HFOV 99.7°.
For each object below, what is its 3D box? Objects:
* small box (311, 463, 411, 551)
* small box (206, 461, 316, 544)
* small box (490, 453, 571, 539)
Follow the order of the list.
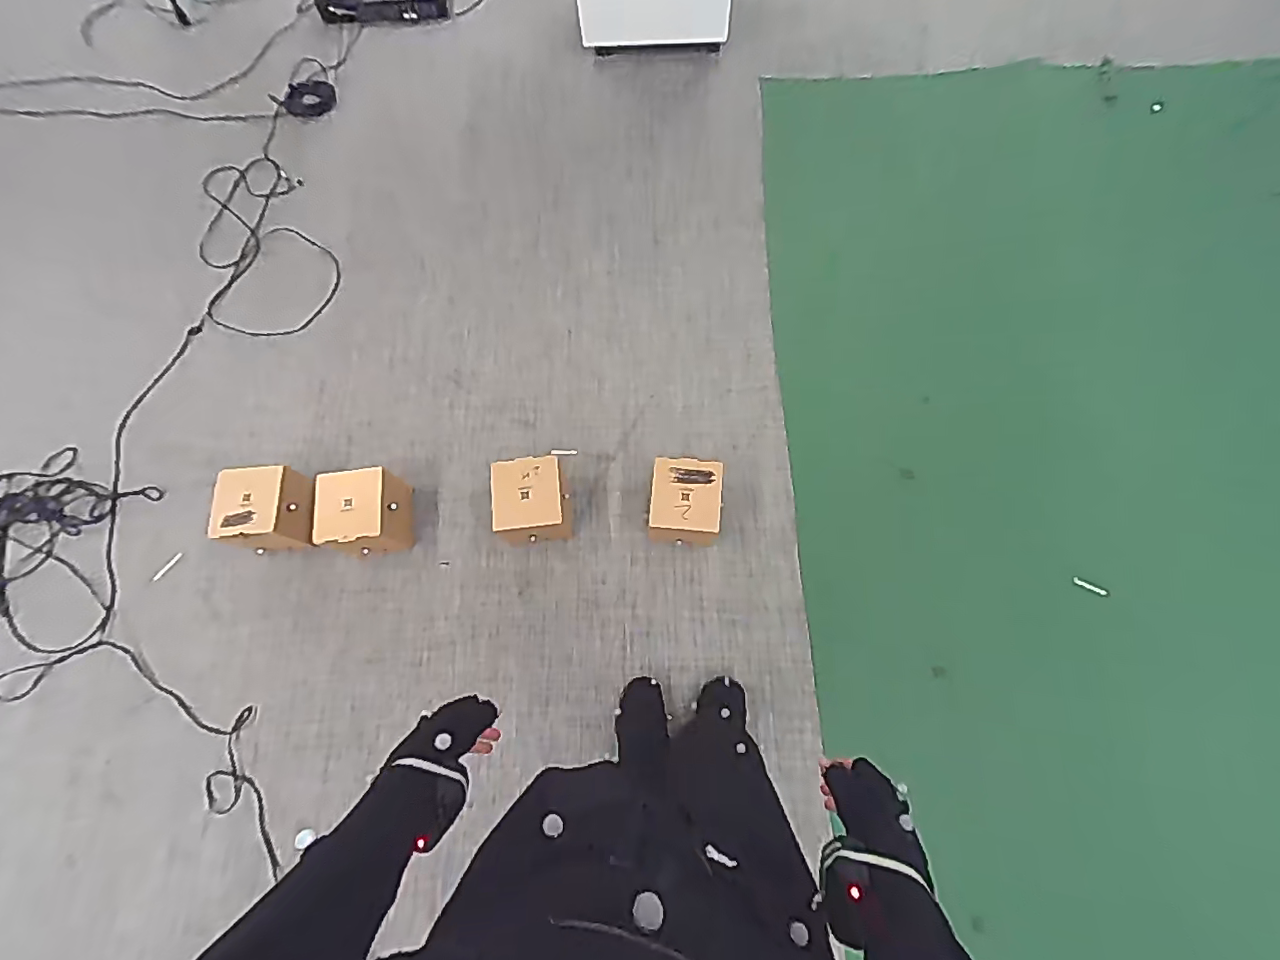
[{"bbox_3d":[-0.696,0.073,1.369,0.168,0.176,0.179,-7,73,1],"label":"small box"},{"bbox_3d":[-0.951,0.065,1.381,0.168,0.176,0.179,-4,72,1],"label":"small box"},{"bbox_3d":[-0.270,0.048,1.358,0.168,0.176,0.179,-6,73,-1],"label":"small box"}]
